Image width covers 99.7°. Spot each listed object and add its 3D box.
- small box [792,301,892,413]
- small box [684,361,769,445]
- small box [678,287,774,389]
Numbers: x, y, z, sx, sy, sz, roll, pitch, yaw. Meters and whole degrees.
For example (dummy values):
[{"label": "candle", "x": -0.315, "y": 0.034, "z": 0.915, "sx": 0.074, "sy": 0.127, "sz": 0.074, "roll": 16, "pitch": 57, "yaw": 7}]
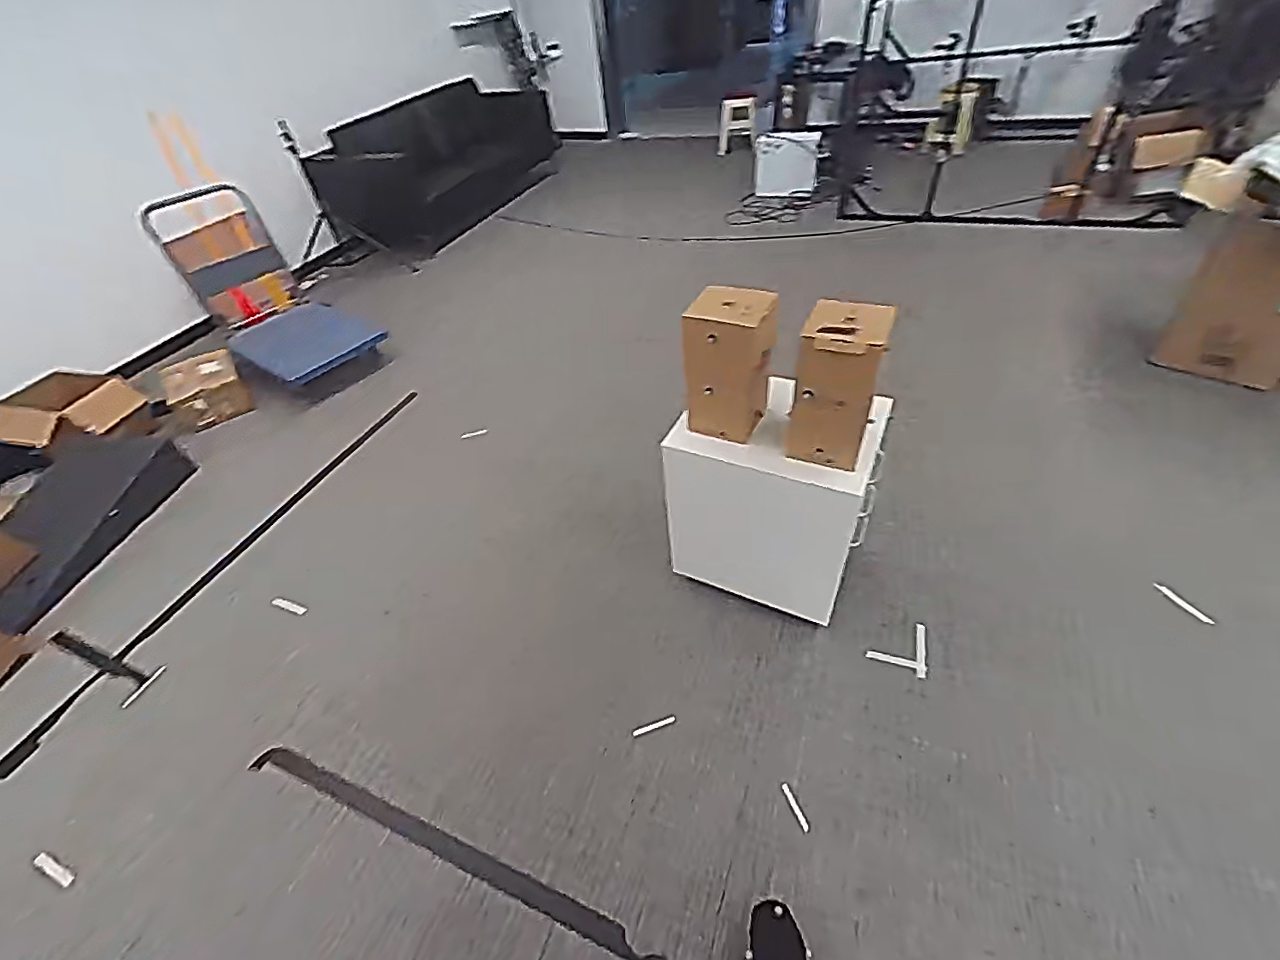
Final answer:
[{"label": "small box", "x": 0.437, "y": -0.269, "z": 1.185, "sx": 0.168, "sy": 0.176, "sz": 0.179, "roll": 15, "pitch": 47, "yaw": 22}, {"label": "small box", "x": 0.224, "y": -0.220, "z": 1.402, "sx": 0.168, "sy": 0.176, "sz": 0.179, "roll": 16, "pitch": 48, "yaw": 24}, {"label": "small box", "x": 0.206, "y": -0.336, "z": 1.286, "sx": 0.179, "sy": 0.176, "sz": 0.168, "roll": 17, "pitch": 50, "yaw": 23}]
